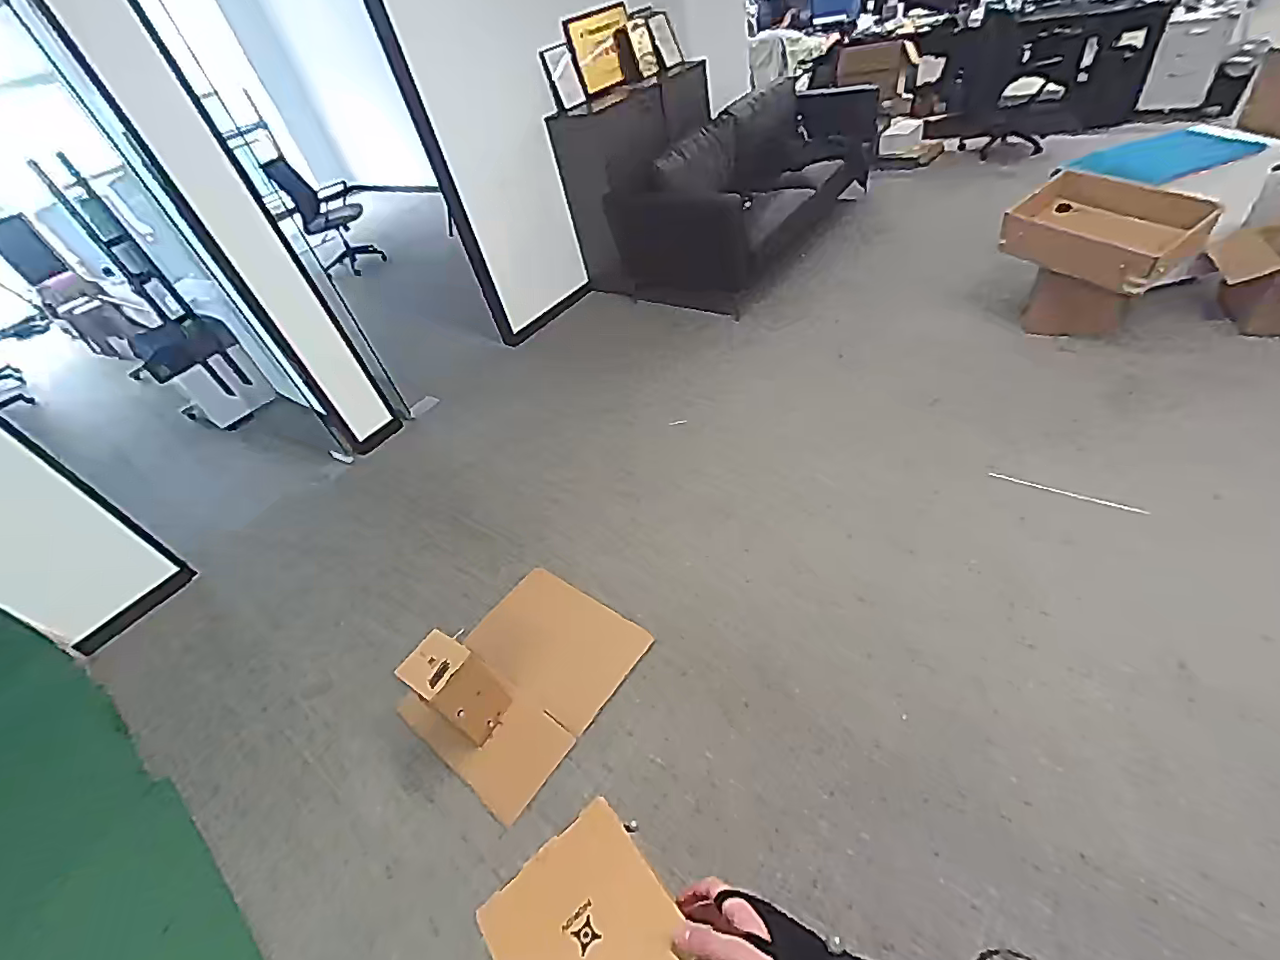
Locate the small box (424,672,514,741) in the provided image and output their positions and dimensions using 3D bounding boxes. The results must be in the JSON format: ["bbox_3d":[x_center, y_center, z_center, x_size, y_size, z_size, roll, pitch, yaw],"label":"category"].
[{"bbox_3d":[-0.534,0.689,1.706,0.179,0.176,0.168,16,51,29],"label":"small box"}]

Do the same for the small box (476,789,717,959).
[{"bbox_3d":[-0.038,0.481,0.576,0.168,0.176,0.179,-36,44,-20],"label":"small box"}]

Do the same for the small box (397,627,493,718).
[{"bbox_3d":[-0.567,0.573,1.595,0.179,0.176,0.168,18,52,32],"label":"small box"}]
